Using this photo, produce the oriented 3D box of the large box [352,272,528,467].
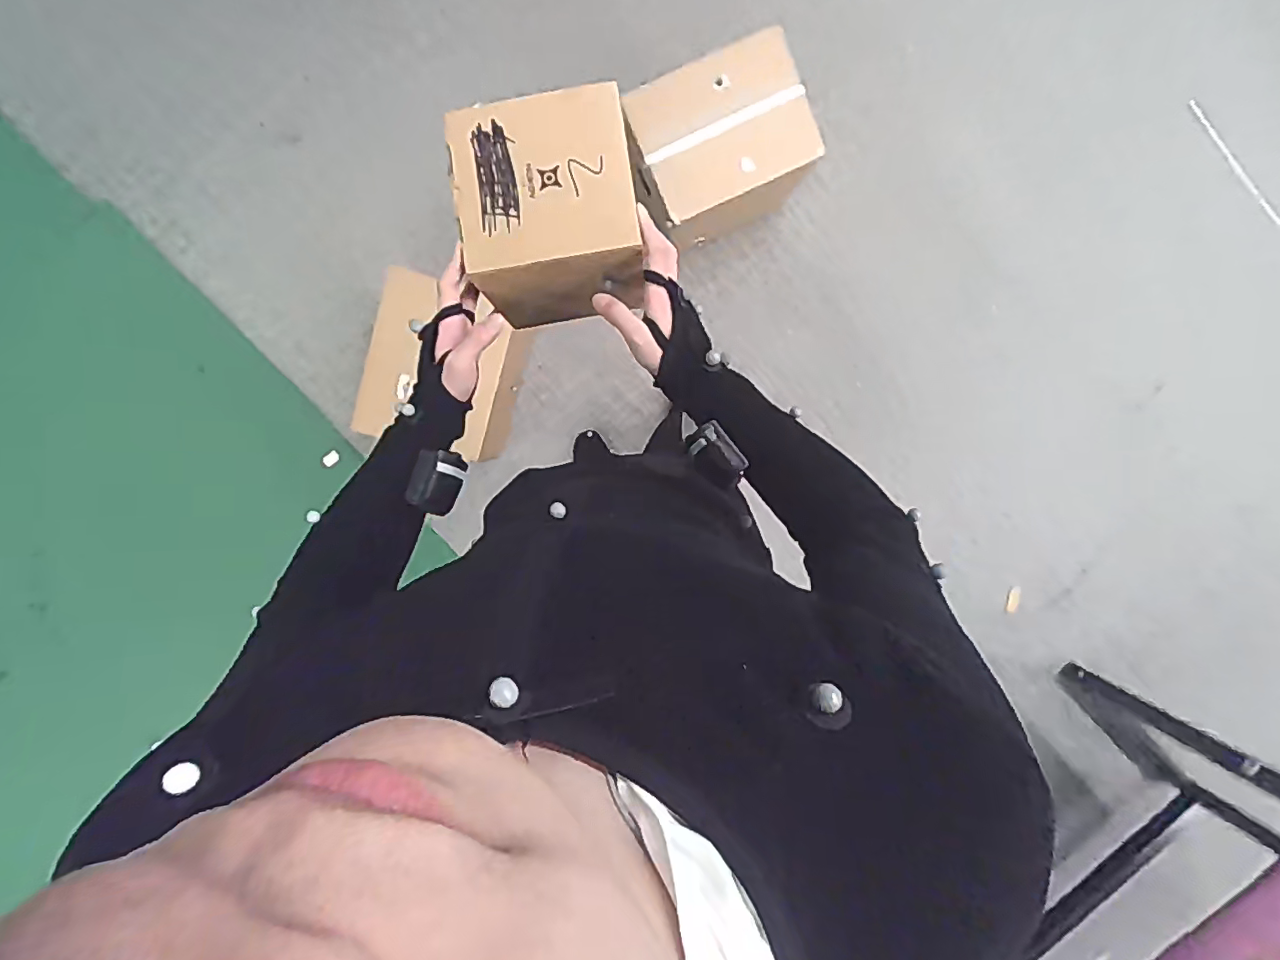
[{"bbox_3d":[-0.504,-0.278,1.429,0.320,0.320,0.408,15,96,-5],"label":"large box"}]
